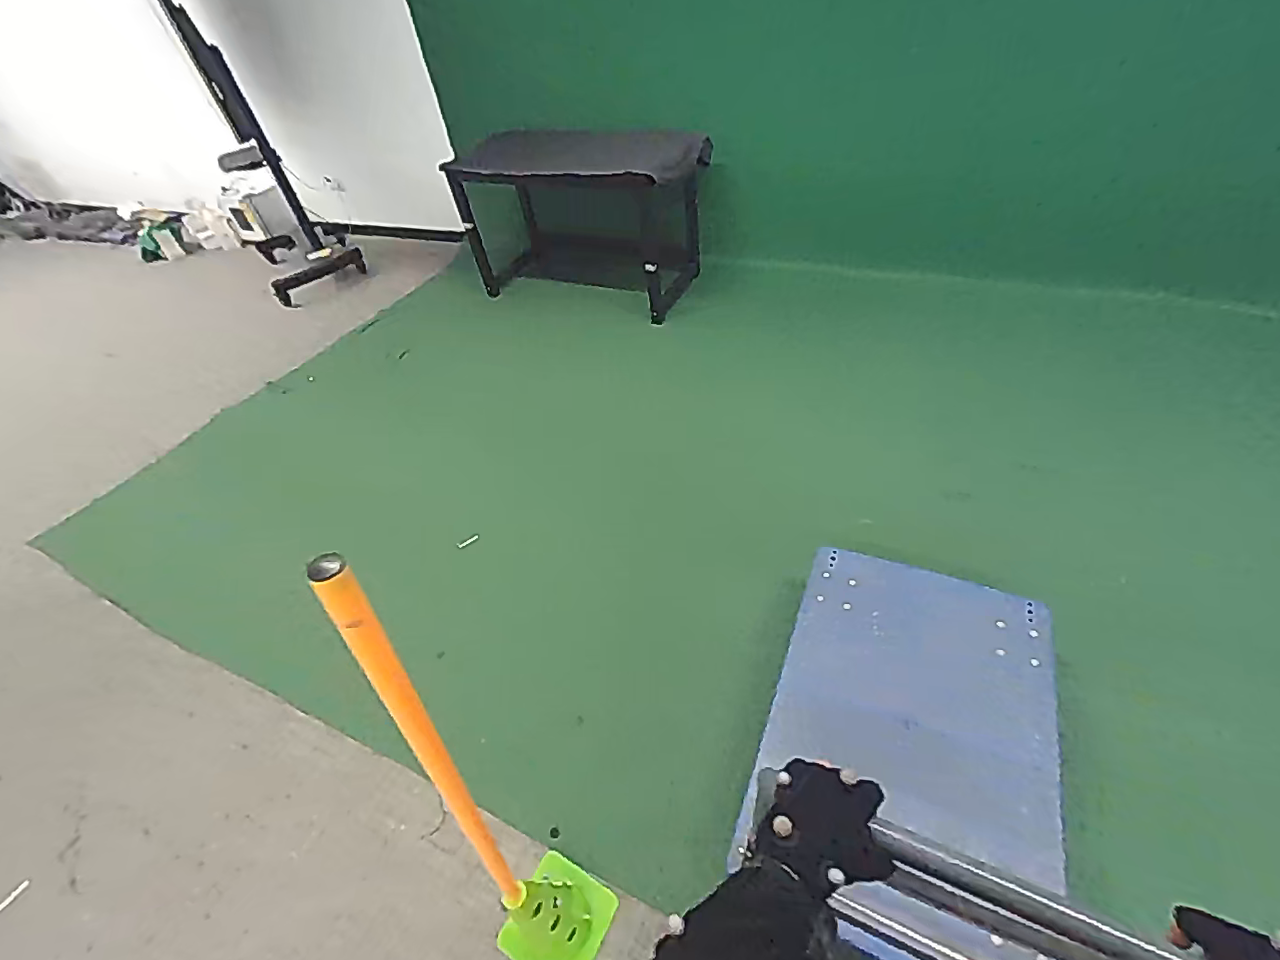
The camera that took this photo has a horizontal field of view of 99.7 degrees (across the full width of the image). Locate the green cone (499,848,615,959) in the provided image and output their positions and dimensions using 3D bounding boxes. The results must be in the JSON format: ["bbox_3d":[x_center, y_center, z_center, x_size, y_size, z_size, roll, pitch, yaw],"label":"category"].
[{"bbox_3d":[-0.197,0.825,1.055,0.202,0.368,0.200,17,50,25],"label":"green cone"}]
